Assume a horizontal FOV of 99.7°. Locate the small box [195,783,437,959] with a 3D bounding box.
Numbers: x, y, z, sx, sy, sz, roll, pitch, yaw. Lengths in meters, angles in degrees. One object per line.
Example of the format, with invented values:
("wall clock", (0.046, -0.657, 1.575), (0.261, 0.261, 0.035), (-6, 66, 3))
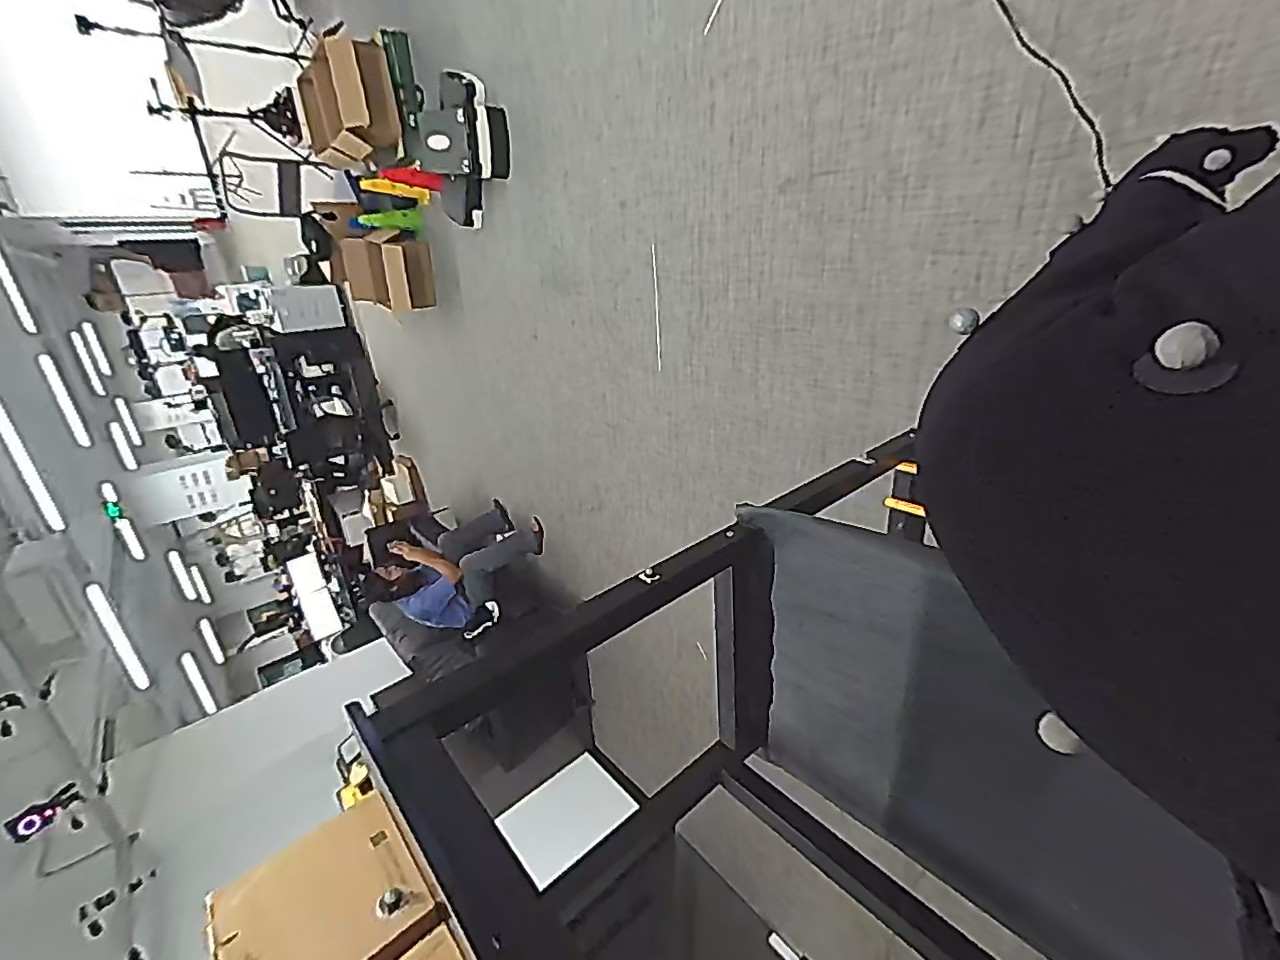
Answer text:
("small box", (-0.311, 0.461, 0.552), (0.168, 0.176, 0.179), (24, 126, 43))
